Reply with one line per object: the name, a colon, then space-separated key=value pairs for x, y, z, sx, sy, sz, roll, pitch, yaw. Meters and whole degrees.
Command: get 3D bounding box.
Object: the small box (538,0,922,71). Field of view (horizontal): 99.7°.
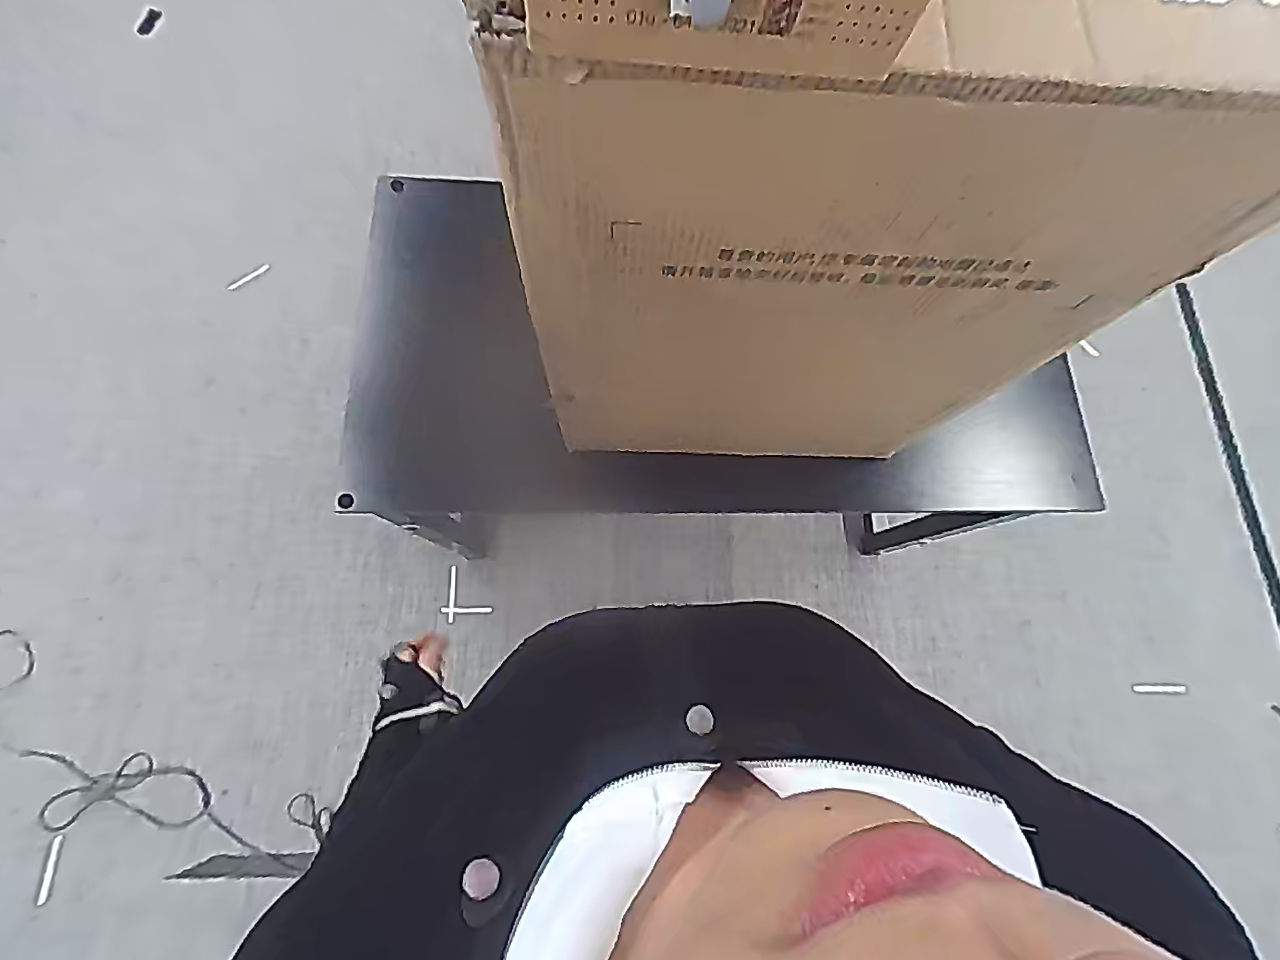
small box: x=0.039 y=-0.288 z=0.180 sx=0.168 sy=0.176 sz=0.179 roll=-2 pitch=78 yaw=-6
